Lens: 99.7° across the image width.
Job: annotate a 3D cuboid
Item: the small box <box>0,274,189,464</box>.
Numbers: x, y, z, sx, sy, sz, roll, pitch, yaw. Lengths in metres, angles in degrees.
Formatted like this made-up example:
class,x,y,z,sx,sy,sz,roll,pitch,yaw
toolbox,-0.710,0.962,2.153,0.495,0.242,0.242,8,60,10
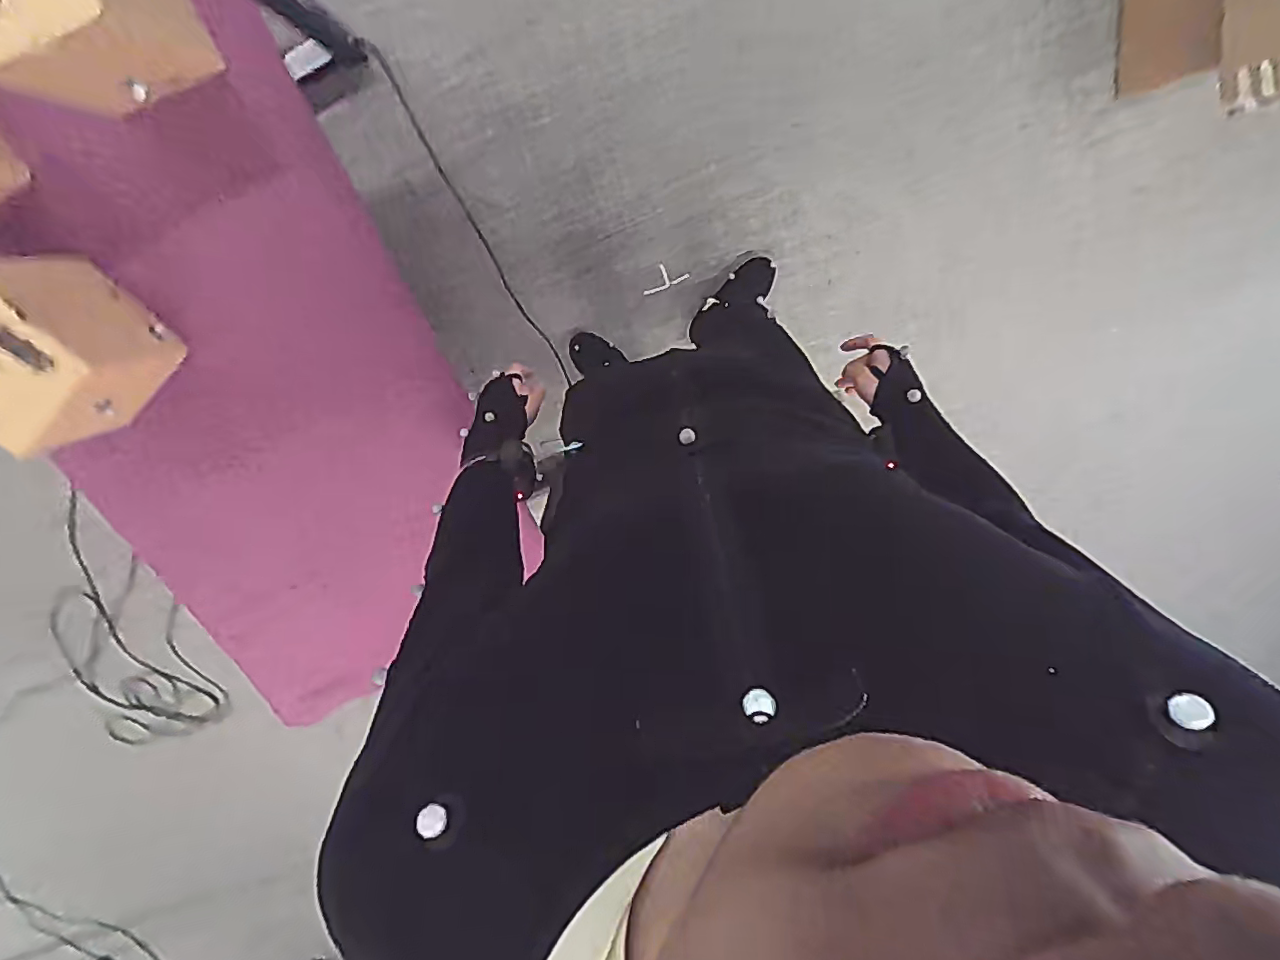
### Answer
class,x,y,z,sx,sy,sz,roll,pitch,yaw
small box,-0.771,-0.158,0.728,0.179,0.176,0.168,-40,107,14
